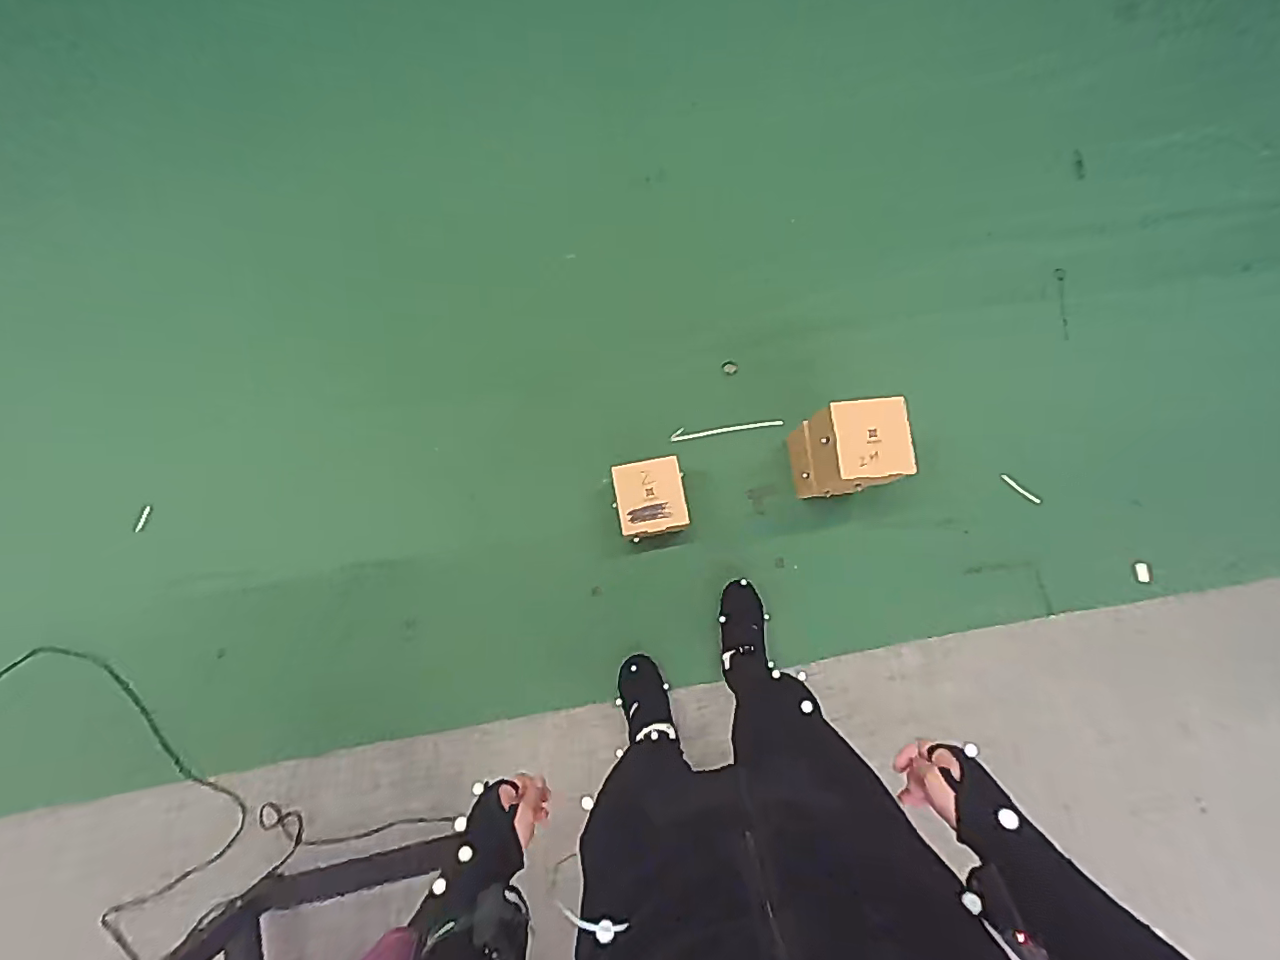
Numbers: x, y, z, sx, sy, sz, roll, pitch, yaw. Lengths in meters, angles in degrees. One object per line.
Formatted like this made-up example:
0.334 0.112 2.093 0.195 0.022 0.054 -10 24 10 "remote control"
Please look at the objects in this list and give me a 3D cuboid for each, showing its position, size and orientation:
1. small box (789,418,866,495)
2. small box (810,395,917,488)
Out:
0.499 -0.062 1.410 0.168 0.176 0.179 -6 82 -1 "small box"
0.504 -0.083 1.246 0.168 0.176 0.179 -4 82 -1 "small box"
